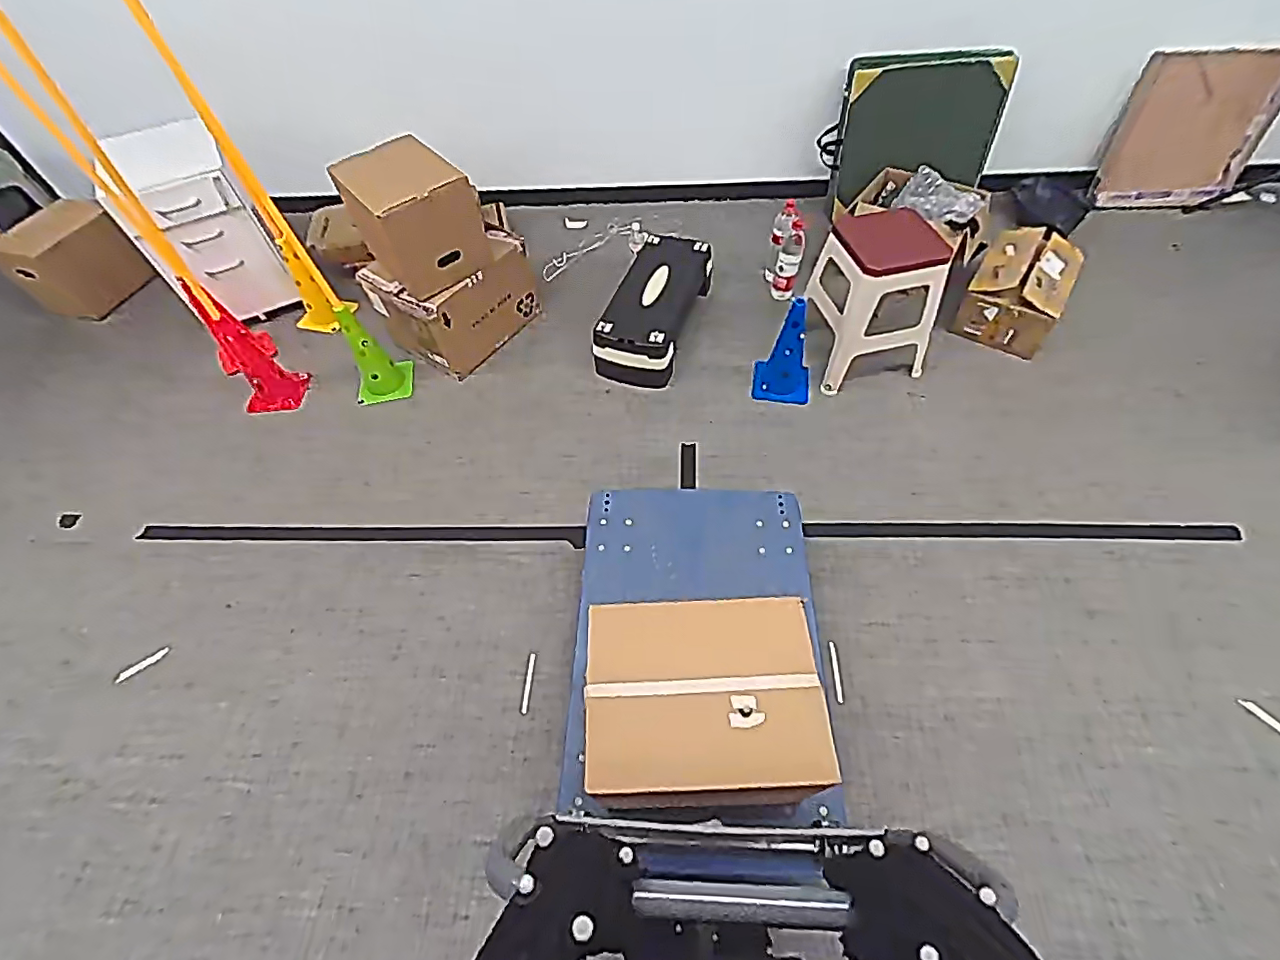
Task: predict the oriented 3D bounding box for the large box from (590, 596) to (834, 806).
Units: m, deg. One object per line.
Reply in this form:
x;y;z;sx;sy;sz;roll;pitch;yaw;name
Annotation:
0.112;0.446;1.076;0.408;0.320;0.320;-3;55;-1;large box
